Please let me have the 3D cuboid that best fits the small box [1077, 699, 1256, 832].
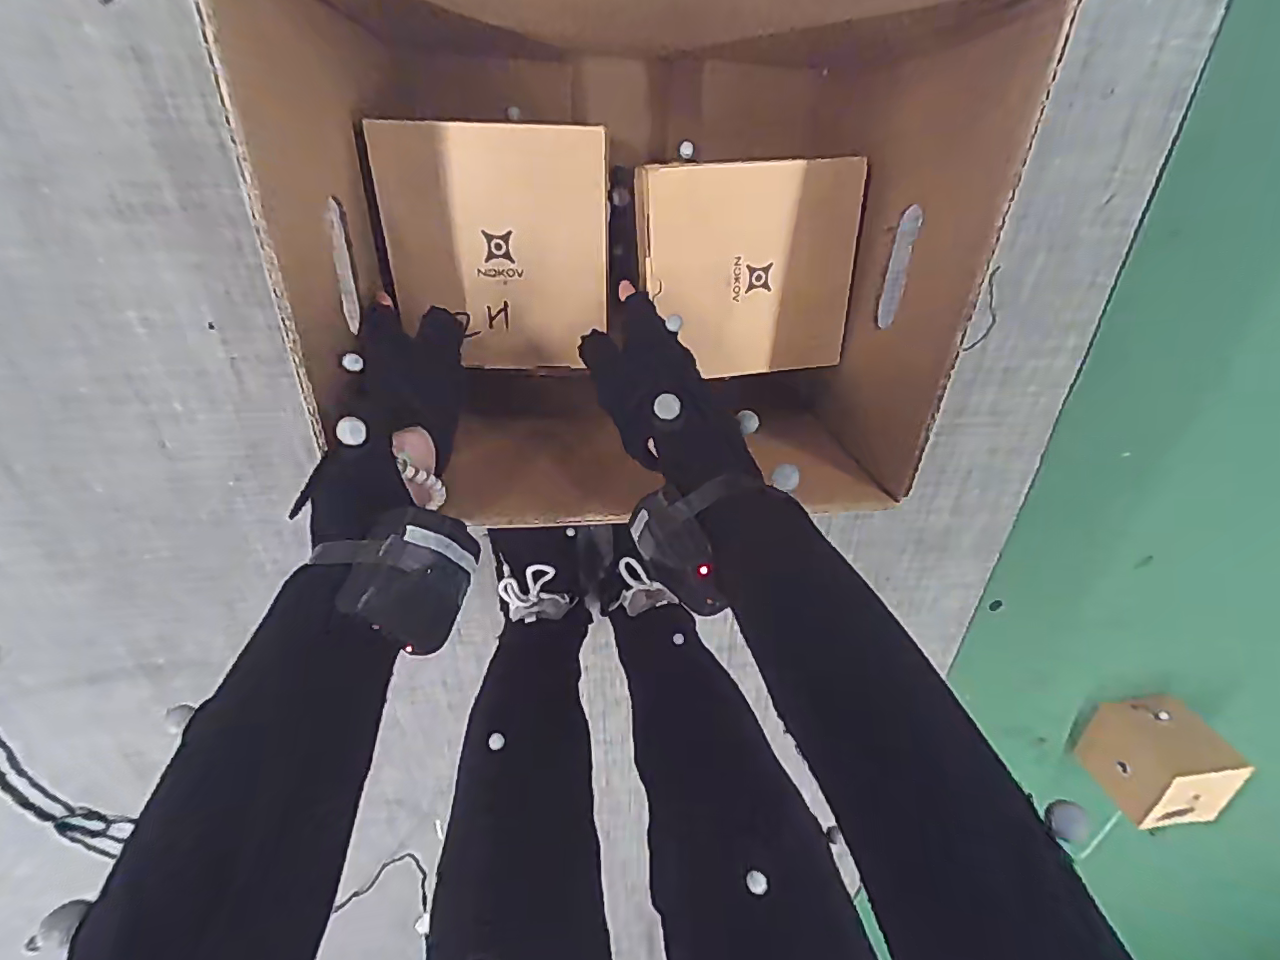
[{"bbox_3d":[1.047,0.575,1.098,0.168,0.176,0.179,-5,119,-4],"label":"small box"}]
